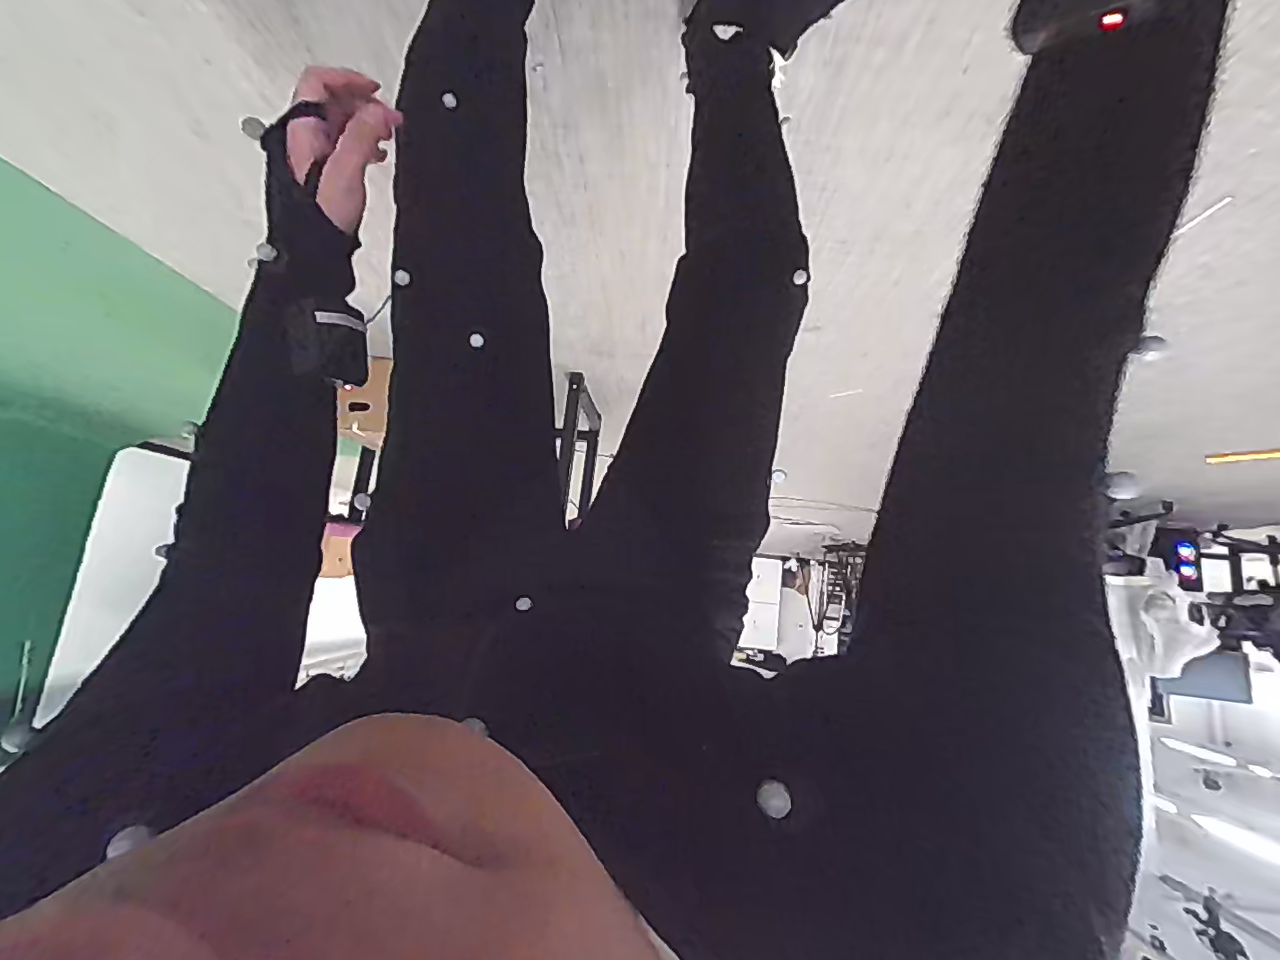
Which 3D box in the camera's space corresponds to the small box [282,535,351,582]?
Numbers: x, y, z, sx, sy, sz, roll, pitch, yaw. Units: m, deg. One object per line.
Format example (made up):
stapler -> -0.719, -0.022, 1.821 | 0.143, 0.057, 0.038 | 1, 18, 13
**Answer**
small box -> -1.278, 0.312, 2.150 | 0.168, 0.176, 0.179 | 4, 171, 1
